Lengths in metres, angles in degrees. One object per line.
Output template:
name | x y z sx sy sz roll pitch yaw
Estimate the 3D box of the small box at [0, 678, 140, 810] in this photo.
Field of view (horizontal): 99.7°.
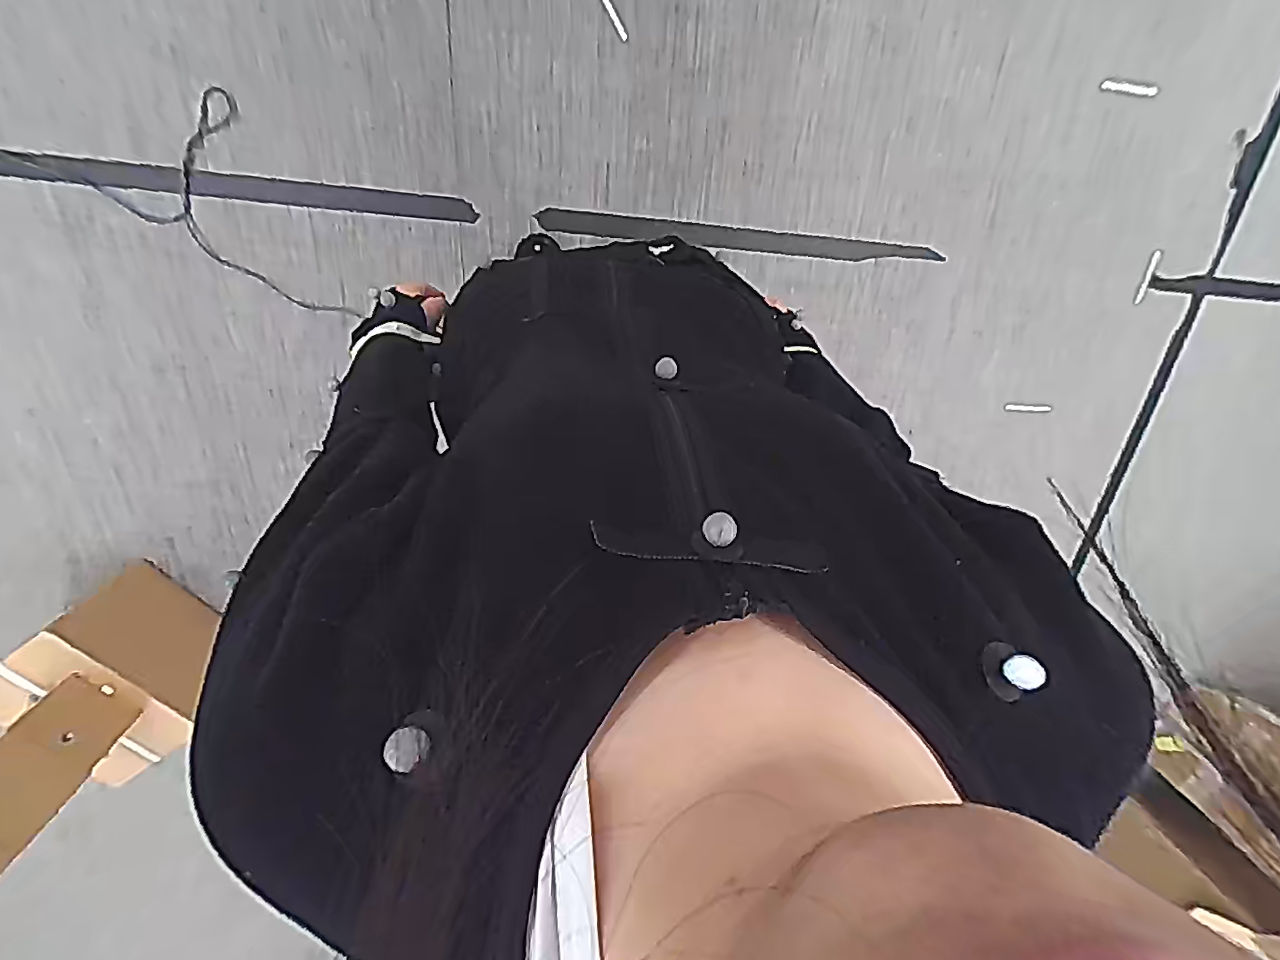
small box | -1.294 0.581 1.206 0.168 0.176 0.179 -37 112 7
